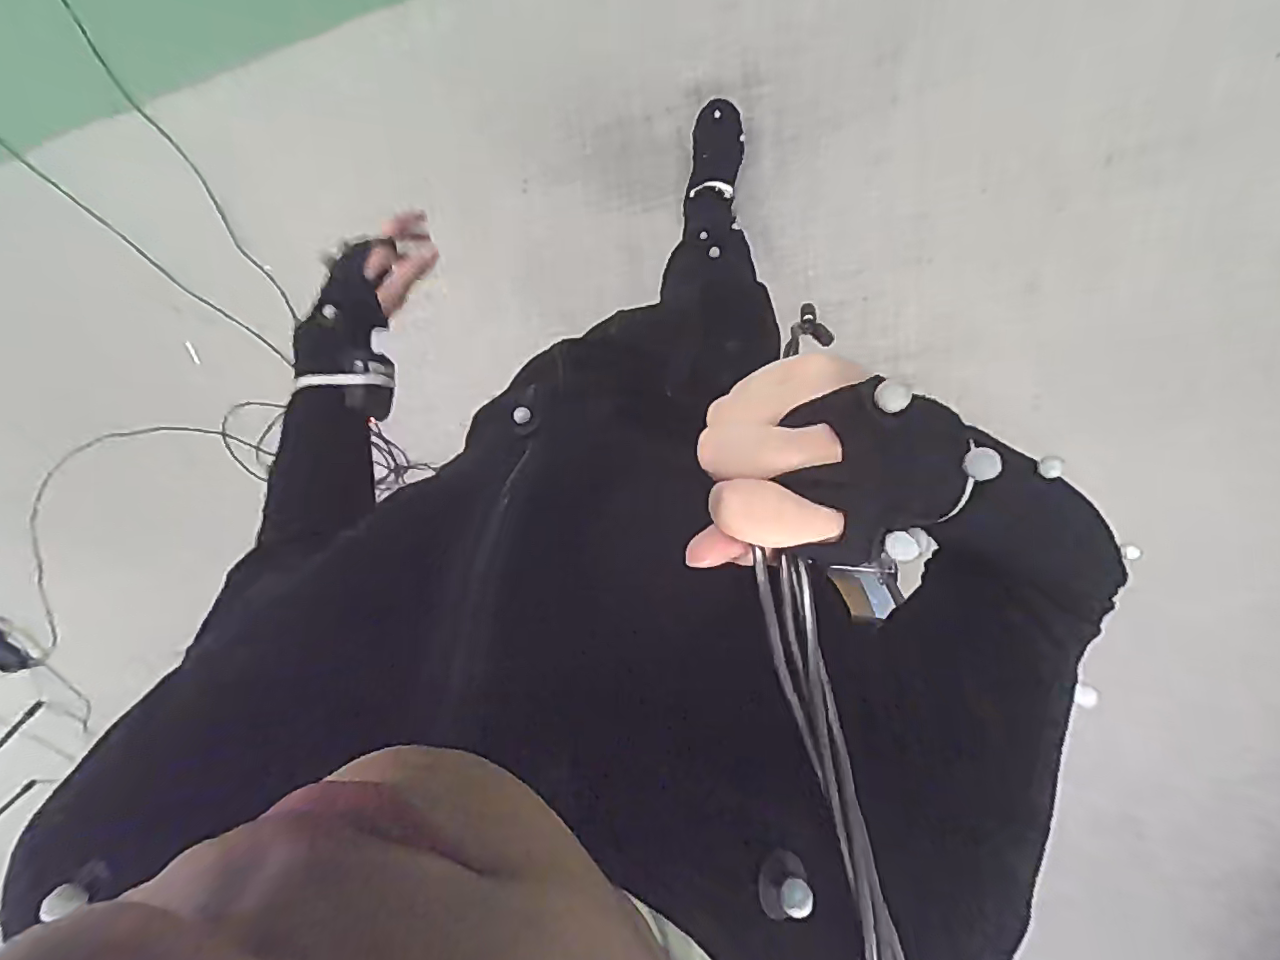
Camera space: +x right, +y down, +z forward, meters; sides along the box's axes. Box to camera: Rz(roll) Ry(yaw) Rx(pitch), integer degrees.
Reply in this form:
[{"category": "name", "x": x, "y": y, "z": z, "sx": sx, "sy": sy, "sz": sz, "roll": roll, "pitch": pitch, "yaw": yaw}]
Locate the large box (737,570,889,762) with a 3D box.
[{"category": "large box", "x": 0.455, "y": 0.508, "z": 1.516, "sx": 0.320, "sy": 0.320, "sz": 0.408, "roll": 6, "pitch": 117, "yaw": 6}]
